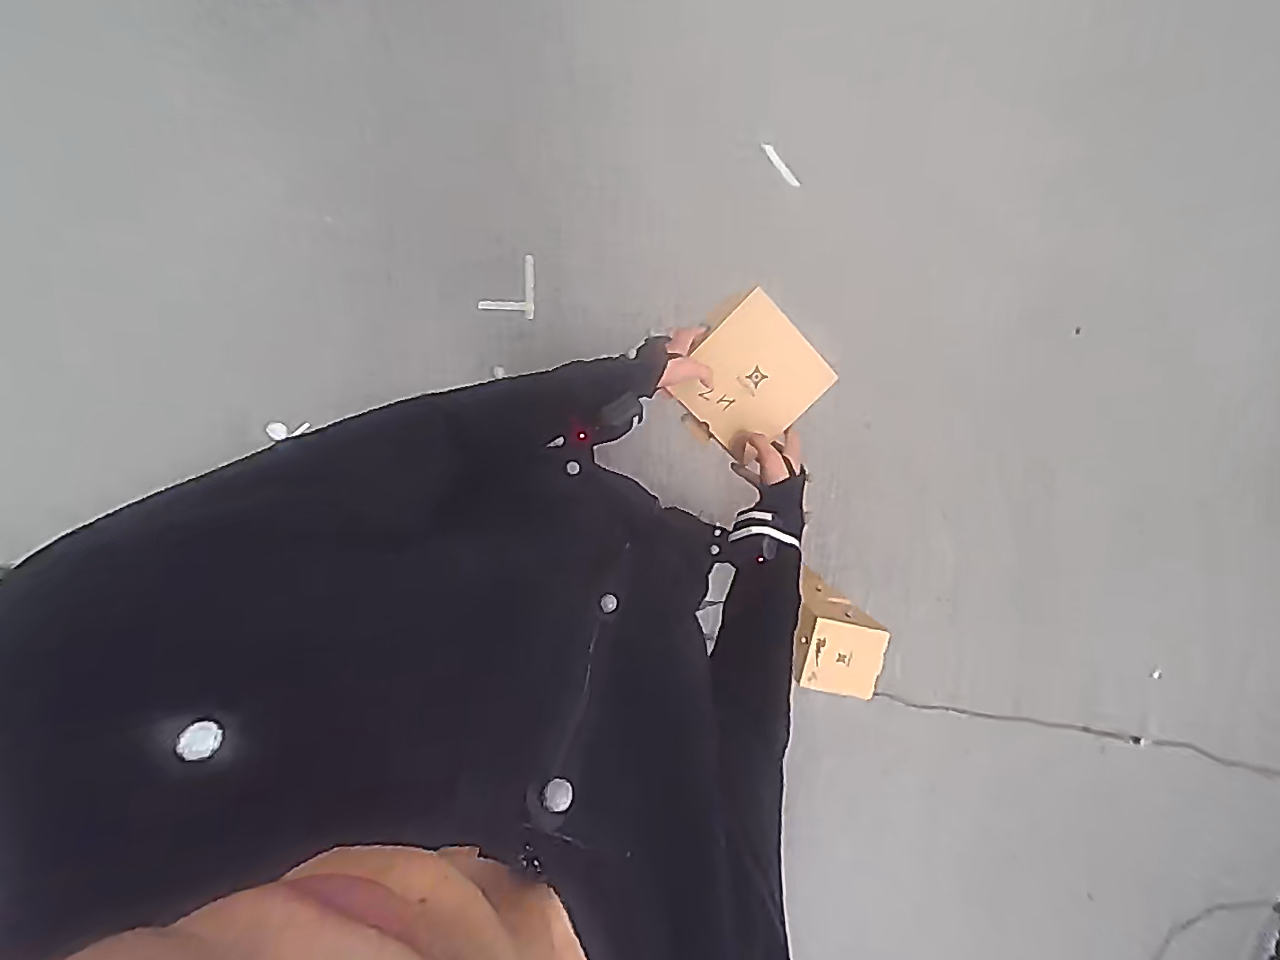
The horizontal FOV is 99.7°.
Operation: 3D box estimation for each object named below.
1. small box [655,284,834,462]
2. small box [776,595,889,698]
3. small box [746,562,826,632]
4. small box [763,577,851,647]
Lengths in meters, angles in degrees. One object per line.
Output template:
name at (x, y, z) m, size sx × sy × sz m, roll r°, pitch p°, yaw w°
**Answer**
small box at (0.138, -0.158, 0.787) m, size 0.168 × 0.176 × 0.179 m, roll 43°, pitch 99°, yaw -14°
small box at (0.448, 0.387, 1.285) m, size 0.179 × 0.176 × 0.168 m, roll 13°, pitch 96°, yaw -6°
small box at (0.429, 0.348, 1.609) m, size 0.179 × 0.176 × 0.168 m, roll 4°, pitch 96°, yaw -4°
small box at (0.439, 0.369, 1.449) m, size 0.168 × 0.176 × 0.179 m, roll 6°, pitch 97°, yaw -5°
